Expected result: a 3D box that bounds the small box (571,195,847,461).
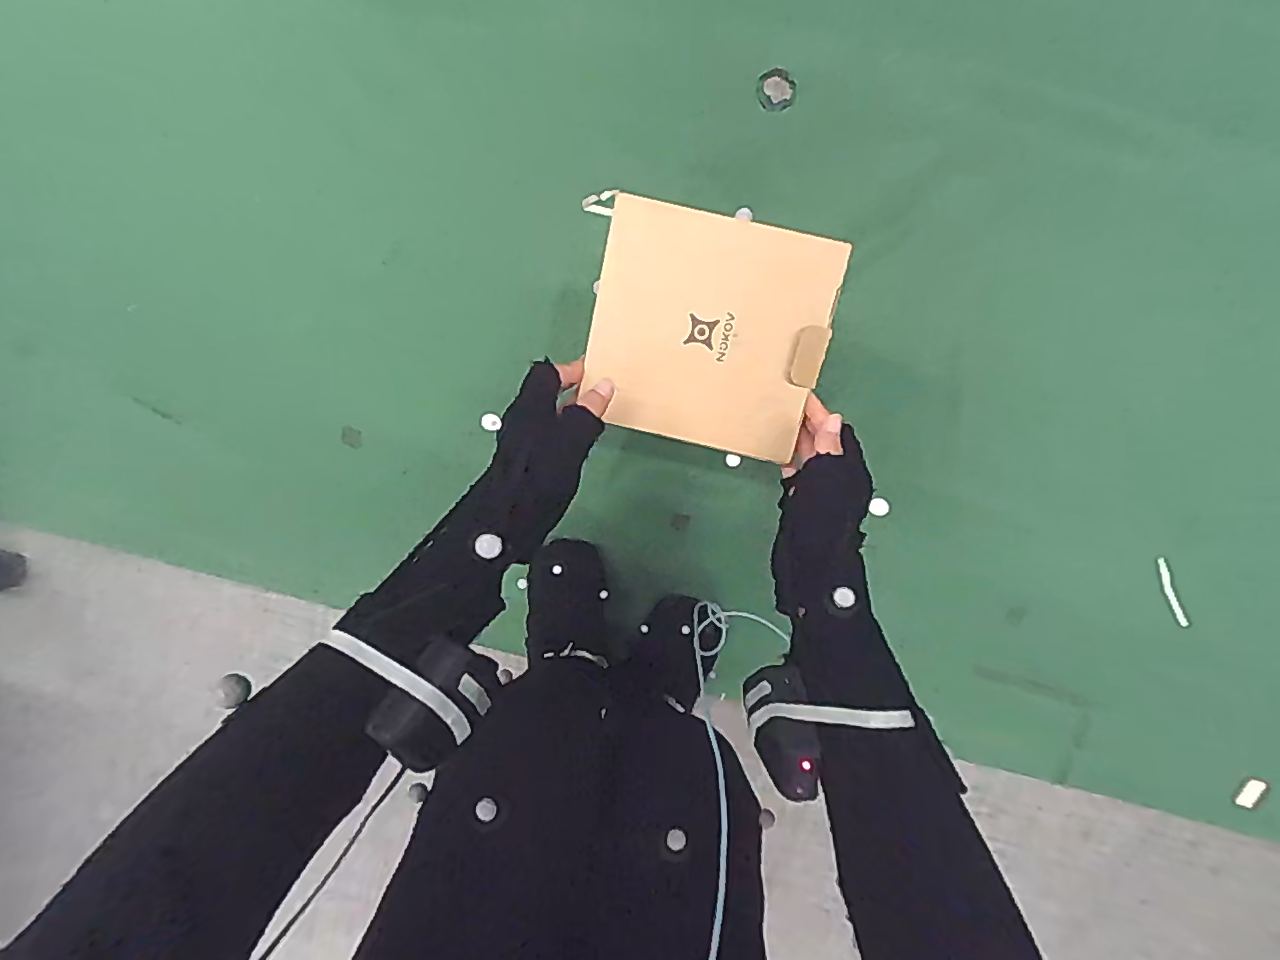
[{"bbox_3d":[0.052,-0.125,0.481,0.179,0.176,0.168,13,102,0],"label":"small box"}]
